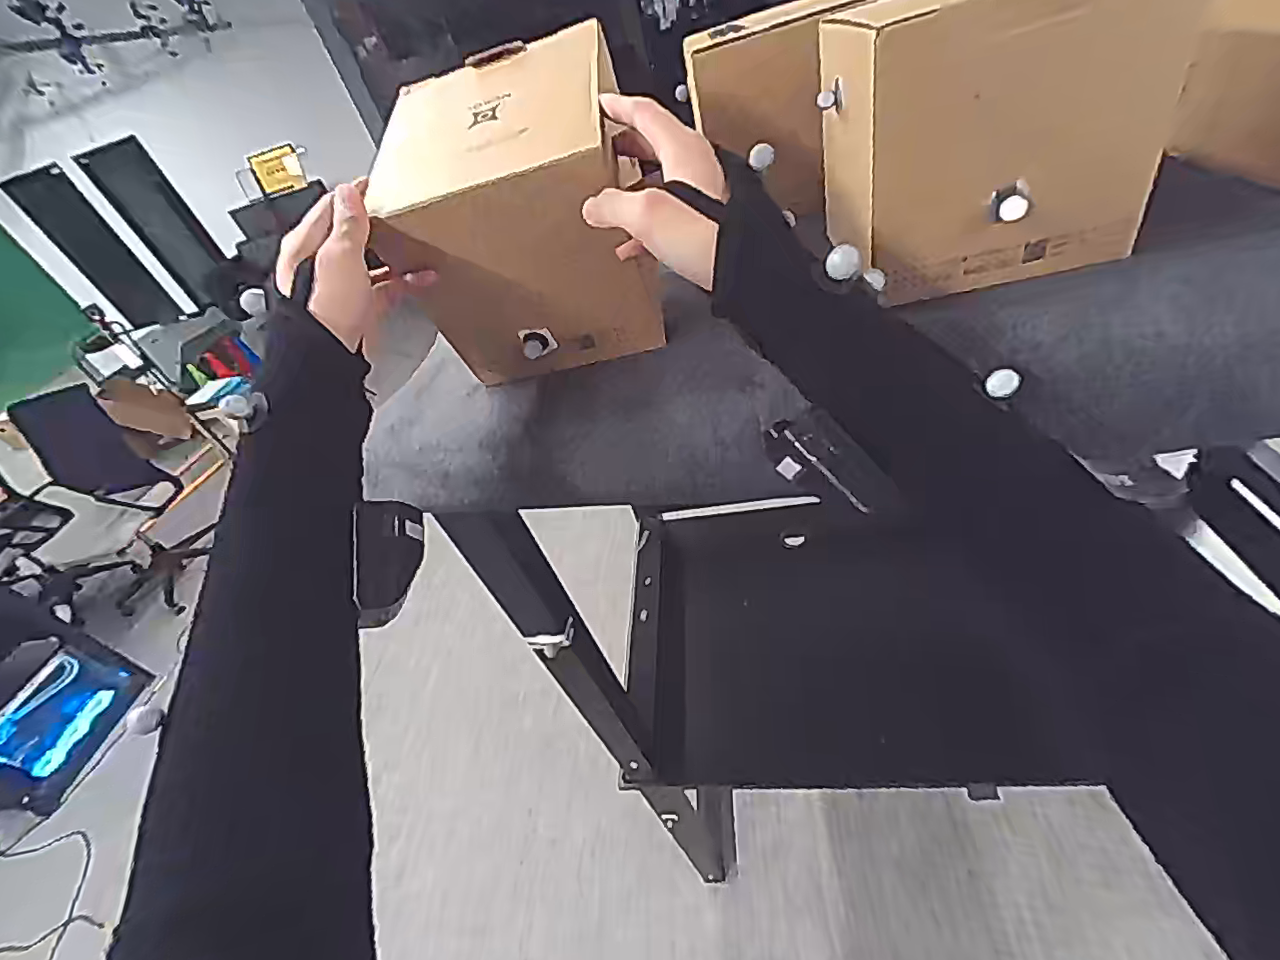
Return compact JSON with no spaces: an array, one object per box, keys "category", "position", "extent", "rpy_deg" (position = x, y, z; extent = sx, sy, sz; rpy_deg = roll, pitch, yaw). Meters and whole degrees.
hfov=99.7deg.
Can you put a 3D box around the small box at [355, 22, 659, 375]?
[{"category":"small box","position":[-0.085,-0.215,0.436],"extent":[0.168,0.176,0.179],"rpy_deg":[-11,56,12]}]
